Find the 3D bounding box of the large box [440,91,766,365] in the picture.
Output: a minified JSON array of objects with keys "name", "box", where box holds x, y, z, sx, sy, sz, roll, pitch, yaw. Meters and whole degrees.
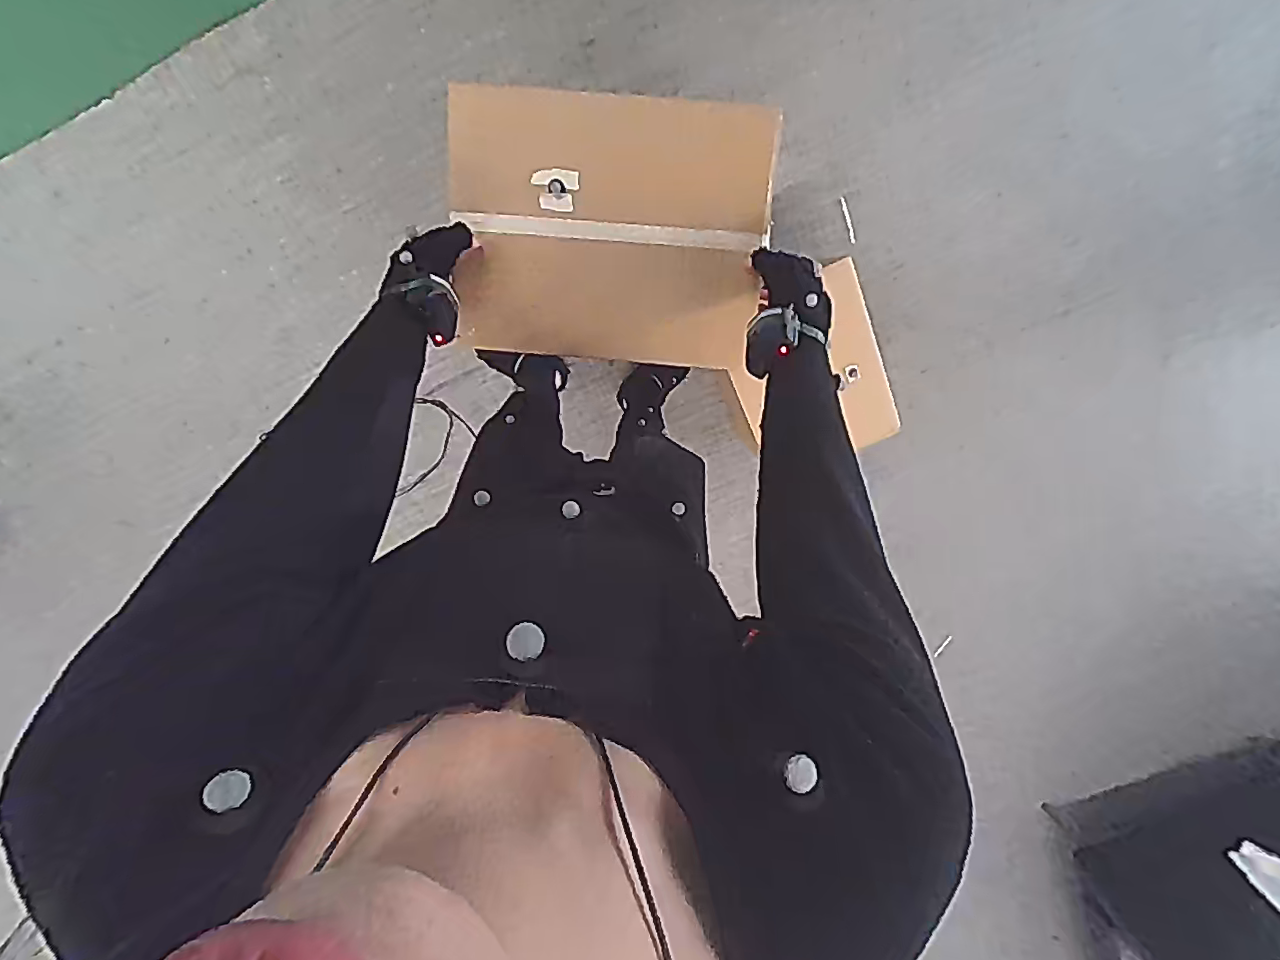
[{"name":"large box","box":[-0.043,-0.351,0.828,0.408,0.320,0.320,4,104,2]}]
